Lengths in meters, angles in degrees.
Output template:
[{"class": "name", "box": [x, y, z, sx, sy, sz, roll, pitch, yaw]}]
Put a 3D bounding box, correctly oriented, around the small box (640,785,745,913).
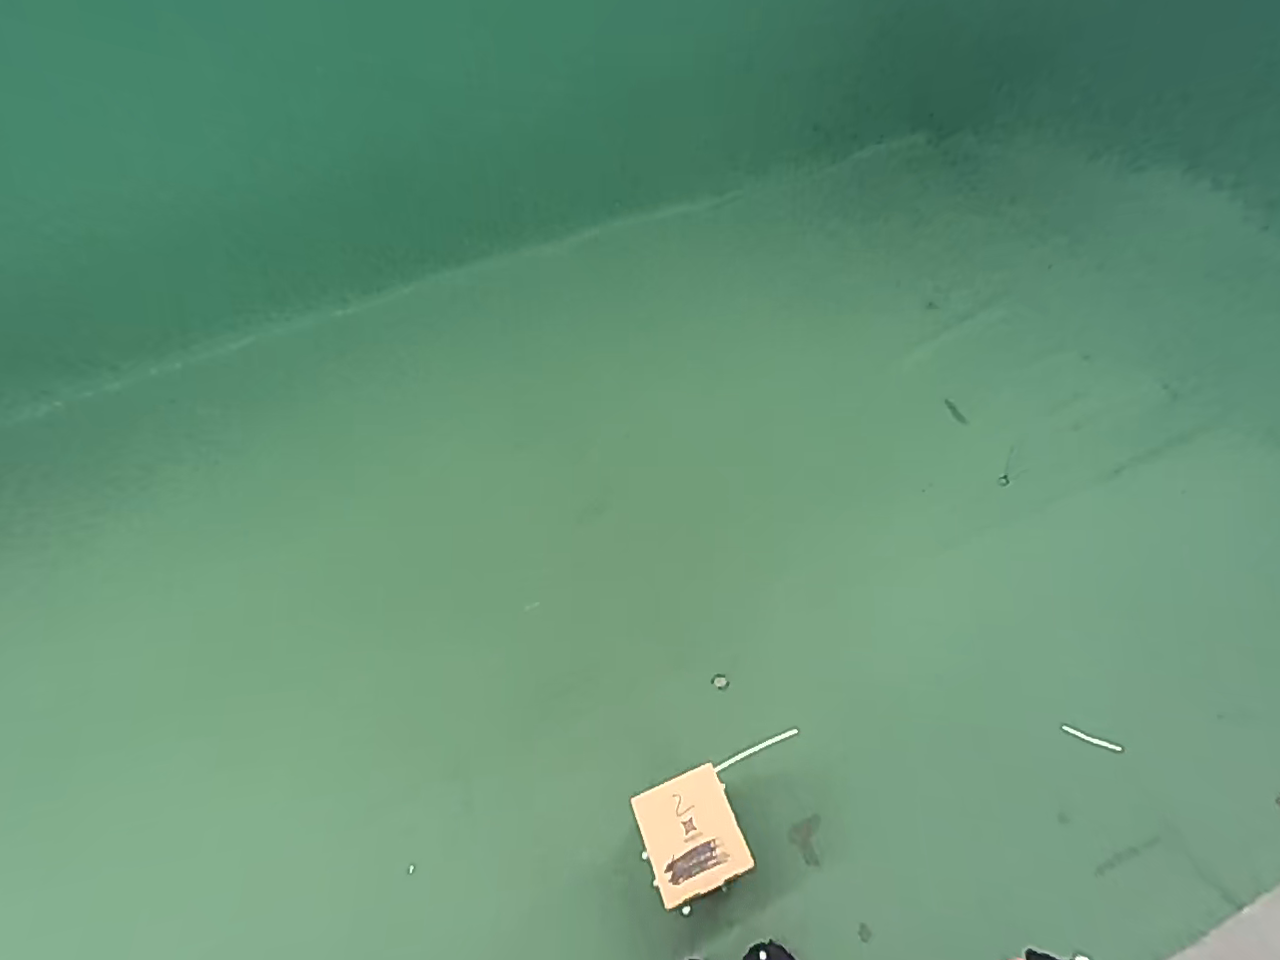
[{"class": "small box", "box": [0.109, 0.777, 1.145, 0.168, 0.176, 0.179, -18, 53, -8]}]
